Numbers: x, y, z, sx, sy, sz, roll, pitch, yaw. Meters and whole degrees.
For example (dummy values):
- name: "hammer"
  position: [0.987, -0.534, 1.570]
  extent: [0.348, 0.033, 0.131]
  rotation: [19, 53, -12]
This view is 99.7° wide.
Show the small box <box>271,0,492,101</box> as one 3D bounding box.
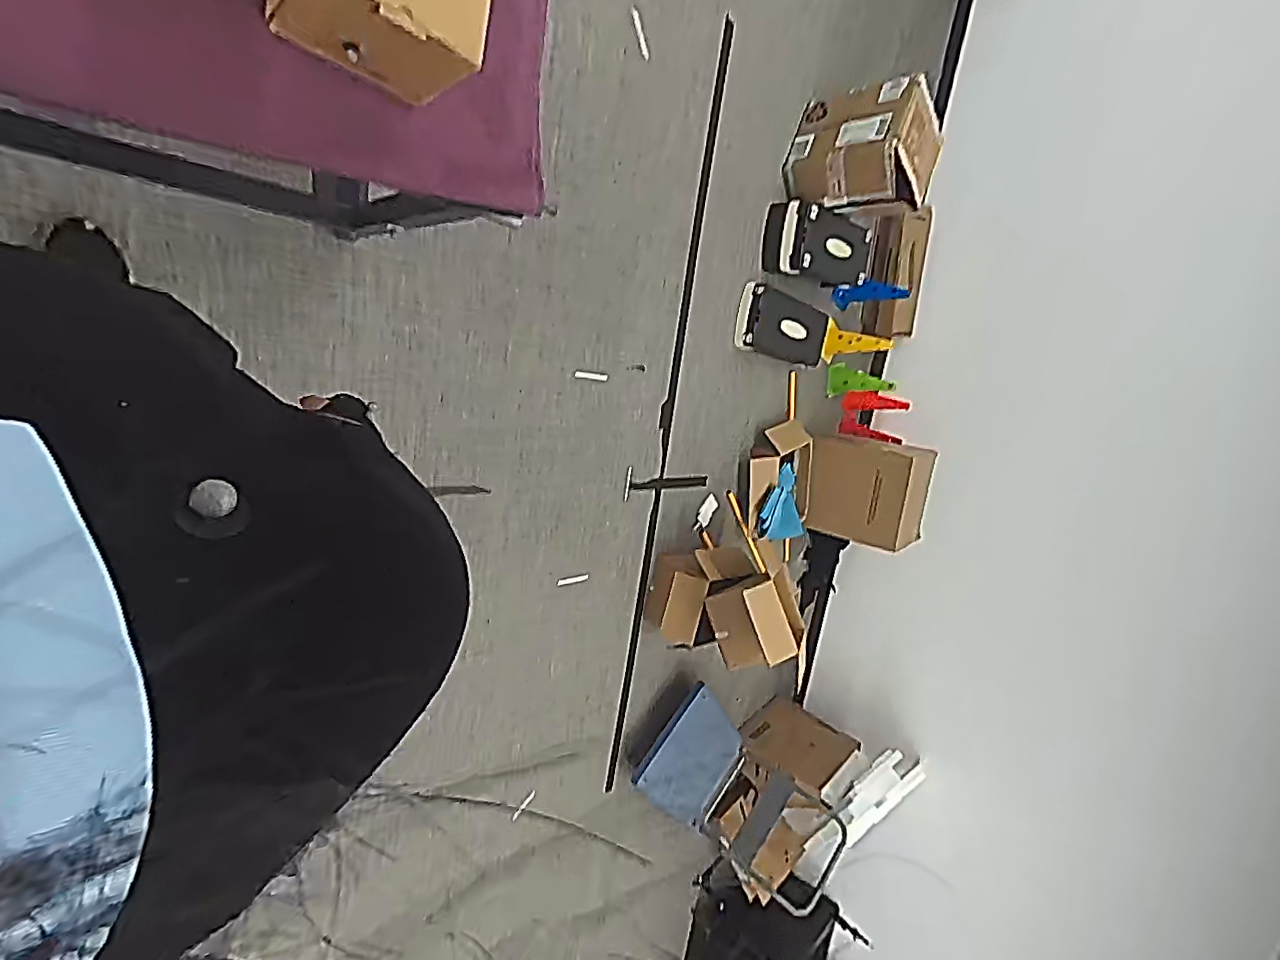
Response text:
- name: "small box"
  position: [-0.267, -0.546, 0.566]
  extent: [0.168, 0.176, 0.179]
  rotation: [2, 102, -46]
